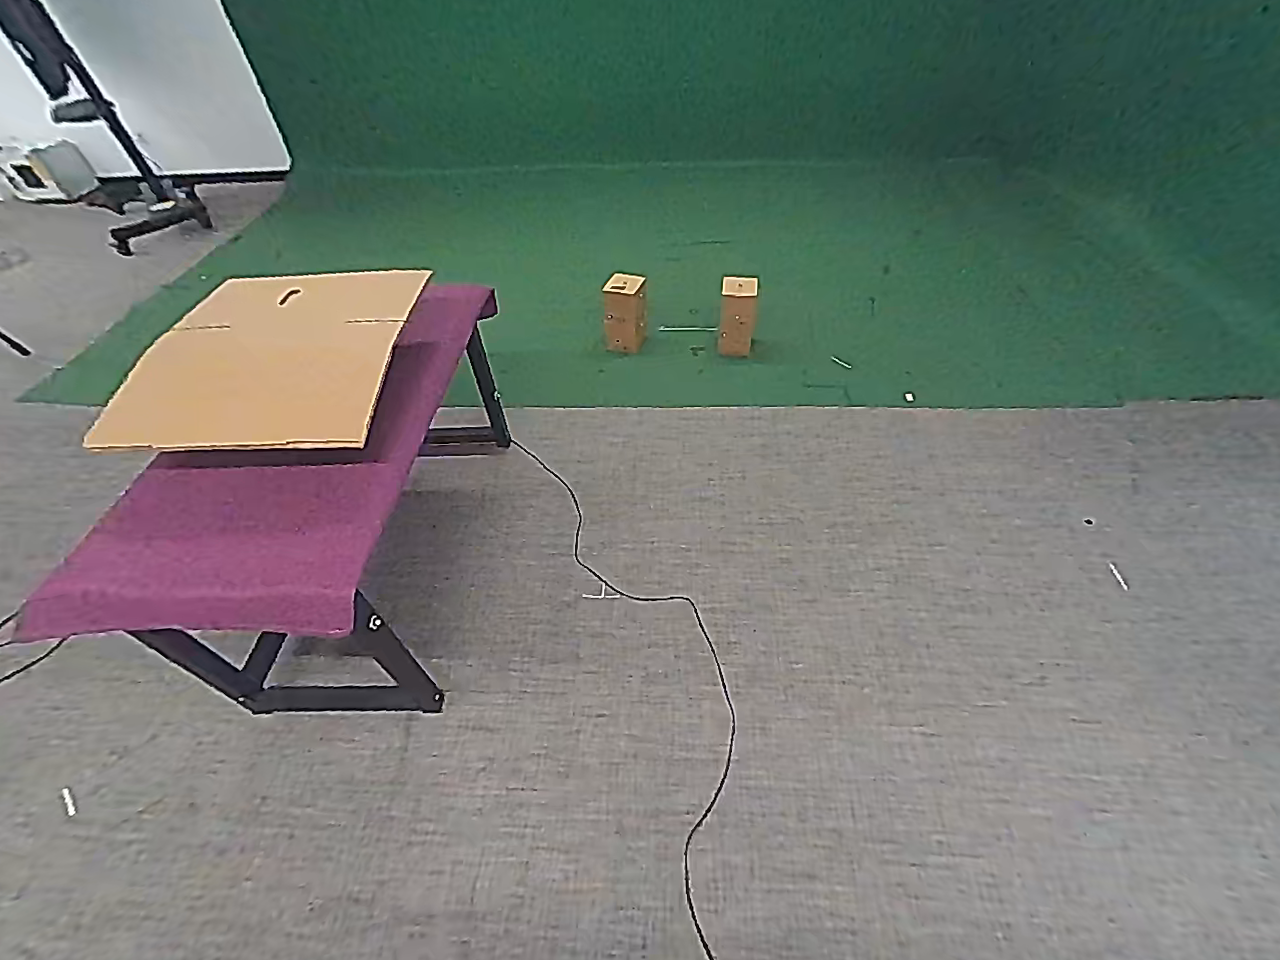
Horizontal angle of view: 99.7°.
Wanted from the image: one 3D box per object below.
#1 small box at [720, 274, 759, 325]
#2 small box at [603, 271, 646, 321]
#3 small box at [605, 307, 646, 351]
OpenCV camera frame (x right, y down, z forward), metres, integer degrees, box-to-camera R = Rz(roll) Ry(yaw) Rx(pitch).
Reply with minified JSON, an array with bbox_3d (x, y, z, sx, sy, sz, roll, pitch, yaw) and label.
[{"bbox_3d":[0.481,-0.877,2.624,0.168,0.176,0.179,6,49,8],"label":"small box"},{"bbox_3d":[-0.070,-0.915,2.690,0.168,0.176,0.179,14,50,15],"label":"small box"},{"bbox_3d":[-0.072,-0.800,2.809,0.168,0.176,0.179,12,51,13],"label":"small box"}]
